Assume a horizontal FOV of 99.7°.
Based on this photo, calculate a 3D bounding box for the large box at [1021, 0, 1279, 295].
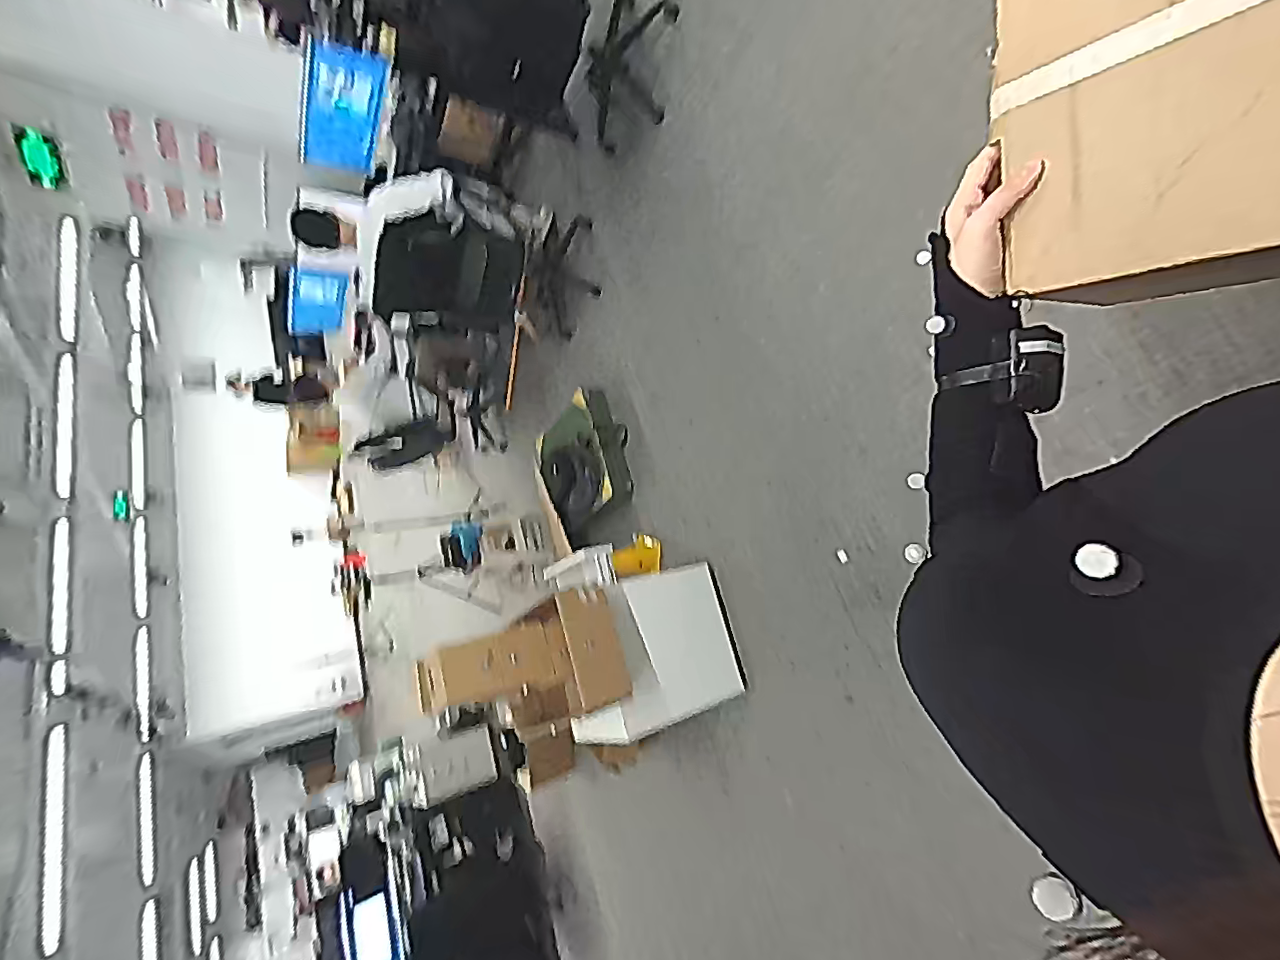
[{"bbox_3d":[0.543,-0.335,0.373,0.408,0.320,0.320,4,103,50],"label":"large box"}]
